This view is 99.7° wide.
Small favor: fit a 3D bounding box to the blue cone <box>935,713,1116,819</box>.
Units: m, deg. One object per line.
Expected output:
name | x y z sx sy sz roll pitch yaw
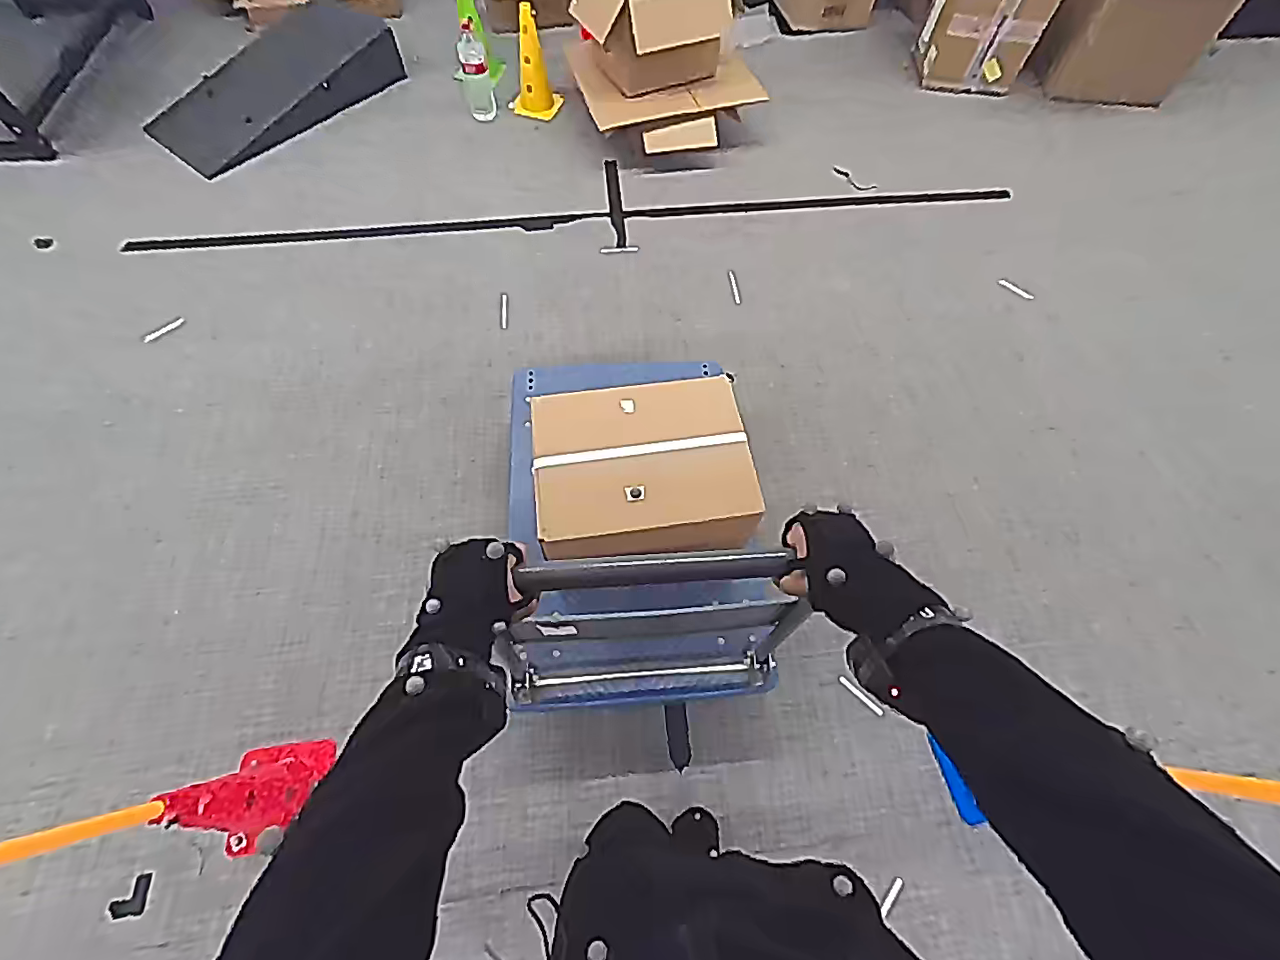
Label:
blue cone | 0.787 0.564 1.074 0.193 0.380 0.192 -8 62 -6
